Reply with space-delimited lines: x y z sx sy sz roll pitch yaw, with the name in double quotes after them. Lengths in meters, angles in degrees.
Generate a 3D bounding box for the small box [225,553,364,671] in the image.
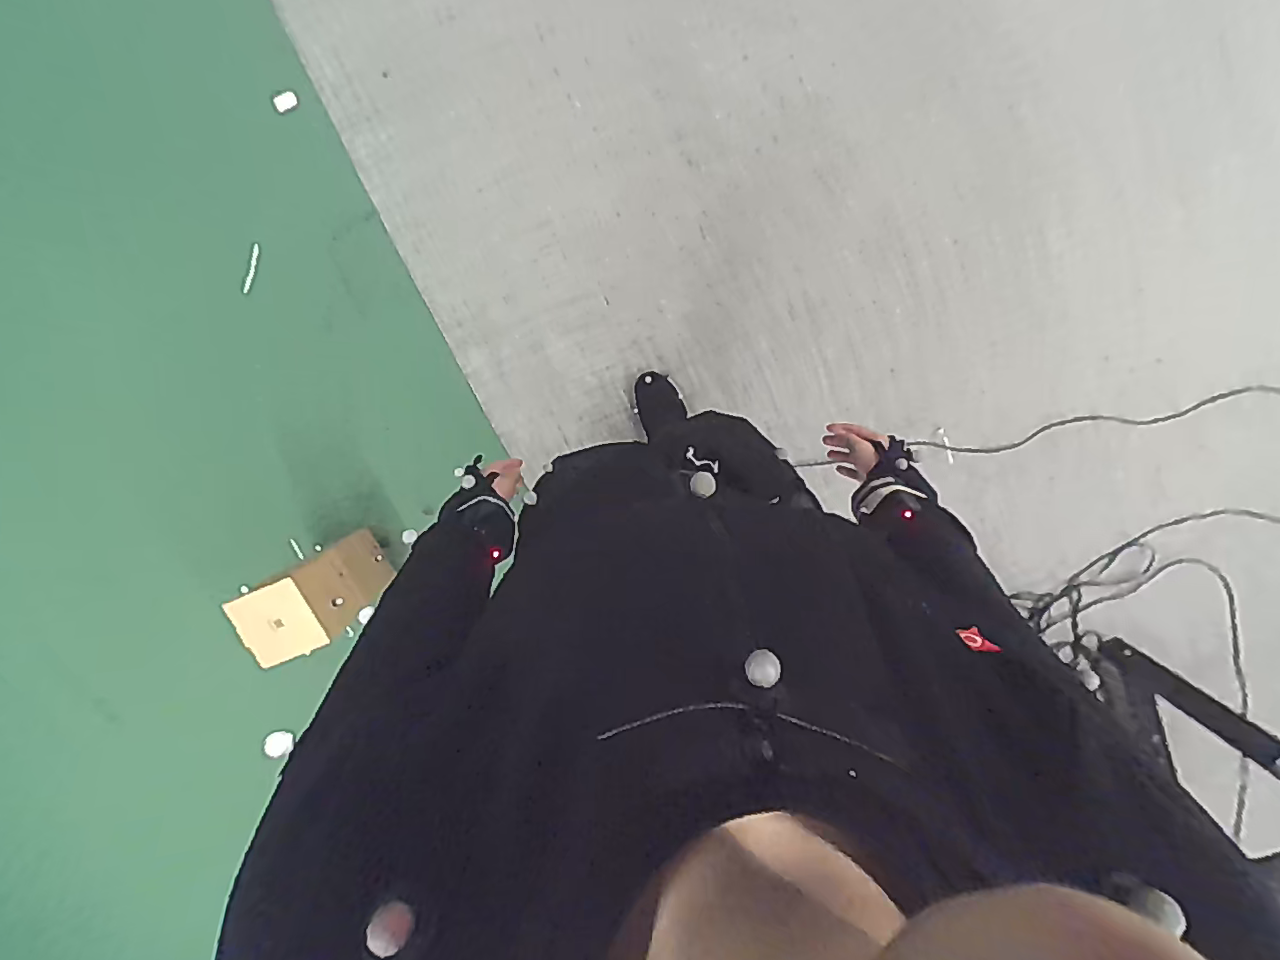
-0.757 0.287 1.214 0.179 0.176 0.168 -23 103 7 "small box"
